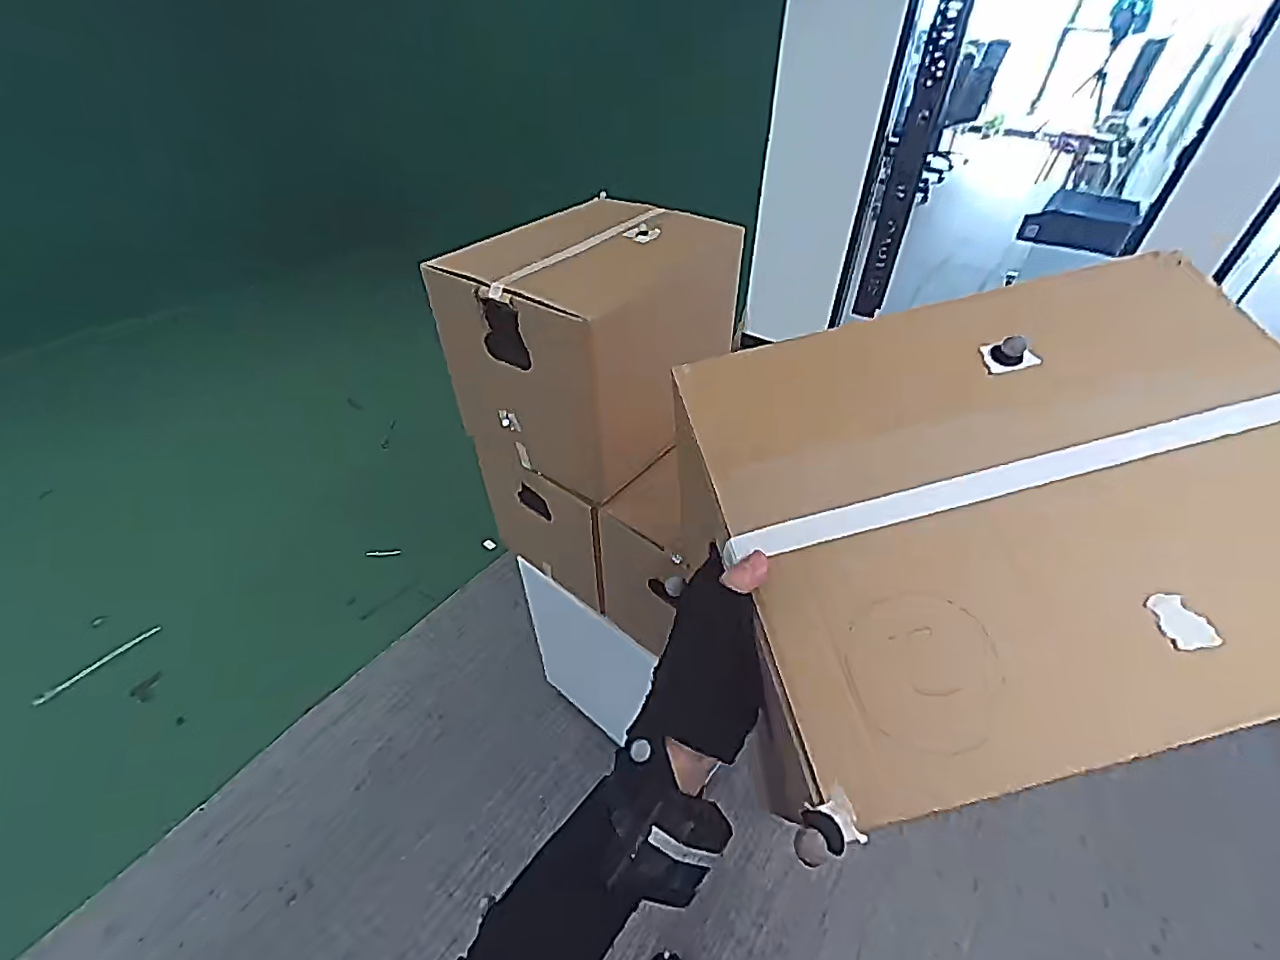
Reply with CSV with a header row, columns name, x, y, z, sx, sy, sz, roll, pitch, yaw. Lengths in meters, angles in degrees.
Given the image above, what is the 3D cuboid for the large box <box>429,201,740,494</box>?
name,x,y,z,sx,sy,sz,roll,pitch,yaw
large box,-0.069,-0.246,0.924,0.320,0.320,0.408,26,48,25
